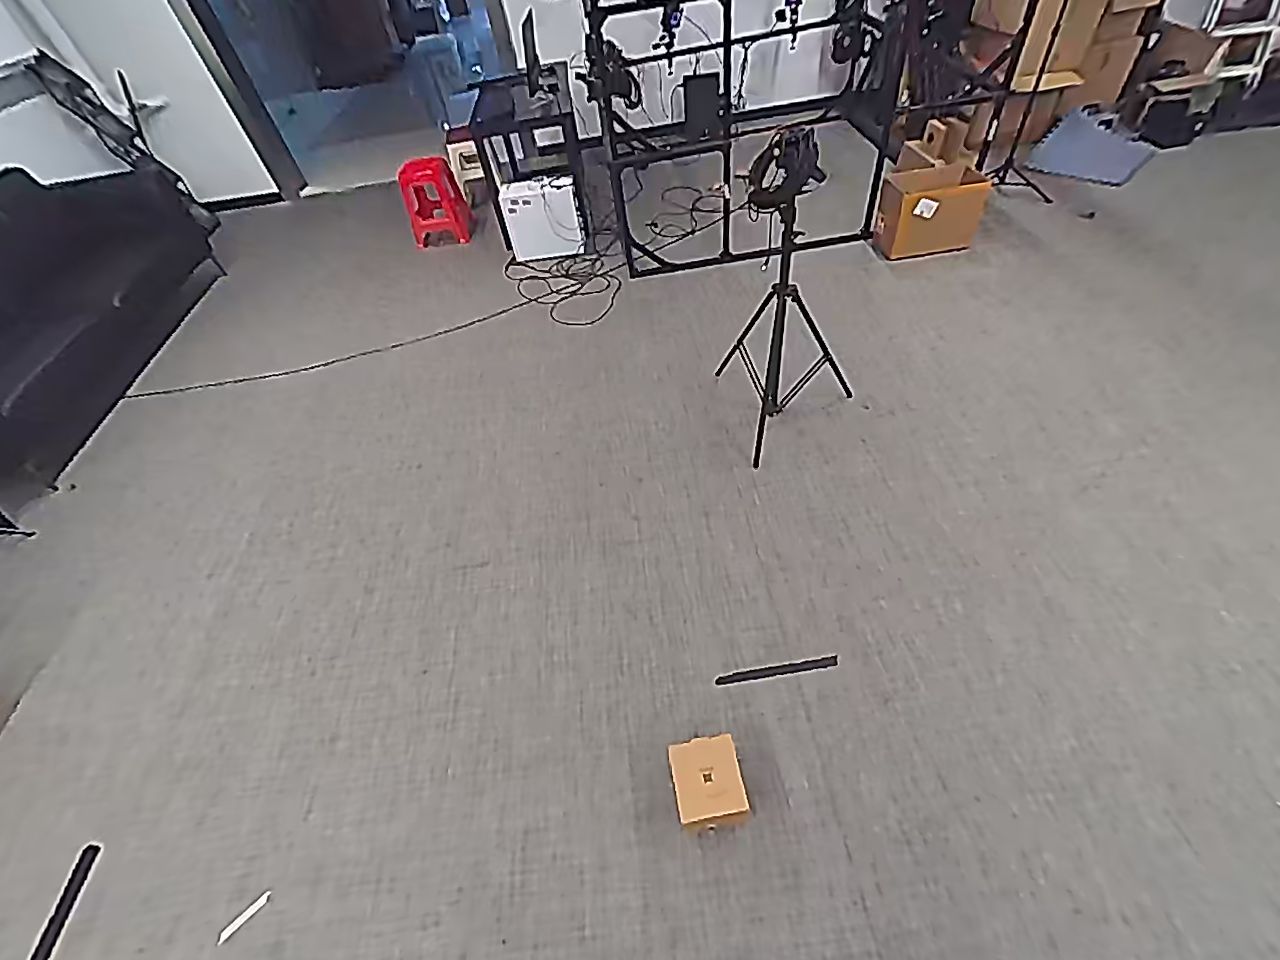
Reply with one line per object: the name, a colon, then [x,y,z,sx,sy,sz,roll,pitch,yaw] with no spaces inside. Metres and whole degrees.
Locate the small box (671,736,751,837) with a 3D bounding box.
small box: [0.177,0.779,1.371,0.168,0.176,0.179,-12,49,0]
